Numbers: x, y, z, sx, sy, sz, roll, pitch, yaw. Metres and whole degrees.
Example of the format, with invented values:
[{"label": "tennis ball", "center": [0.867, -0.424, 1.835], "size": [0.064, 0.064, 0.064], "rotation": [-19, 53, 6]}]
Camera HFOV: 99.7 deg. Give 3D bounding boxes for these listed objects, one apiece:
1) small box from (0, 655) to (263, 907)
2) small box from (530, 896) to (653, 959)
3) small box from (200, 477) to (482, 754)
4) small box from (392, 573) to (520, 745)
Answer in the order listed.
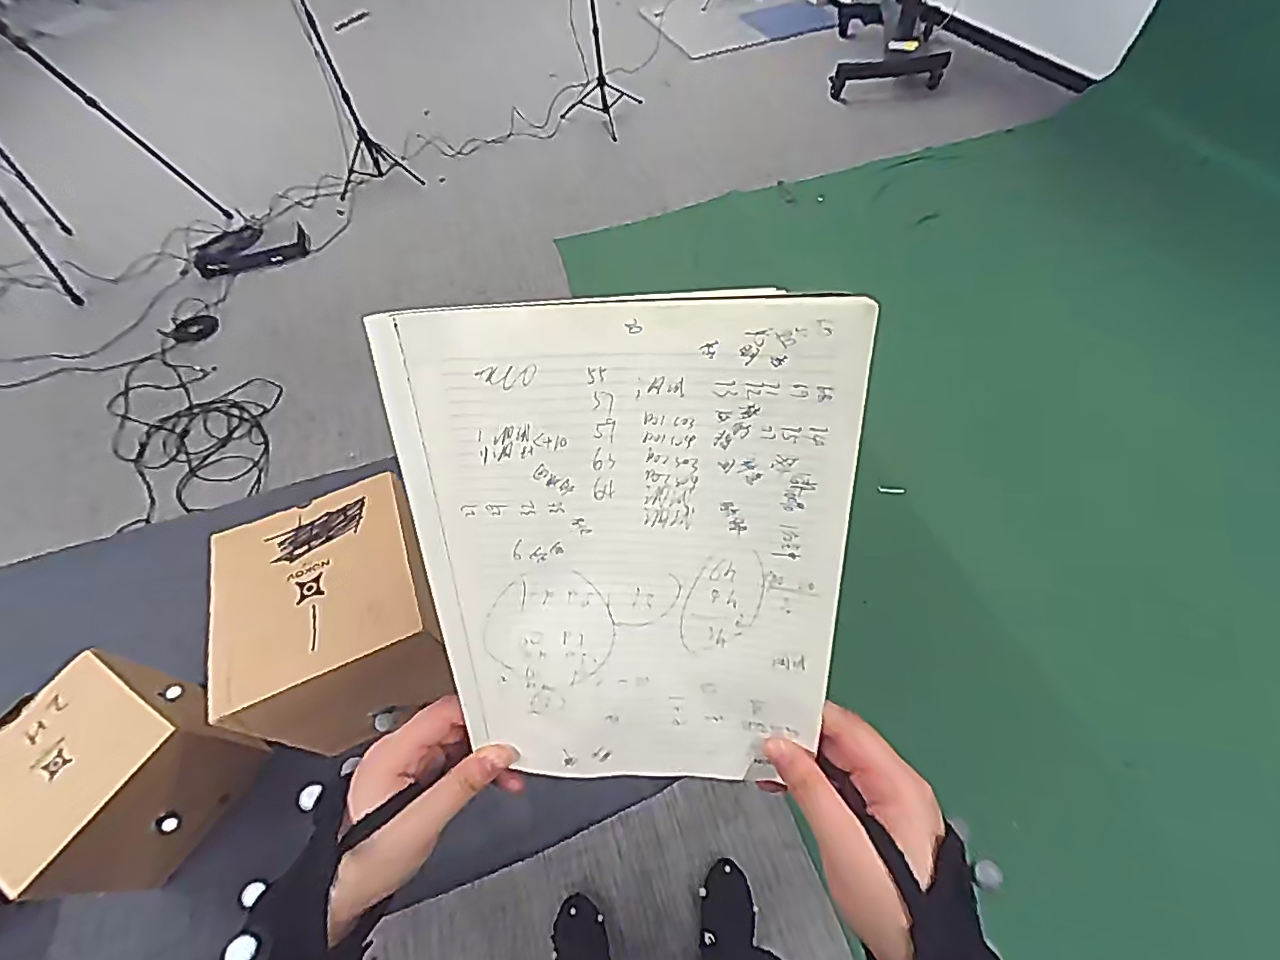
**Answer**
[{"label": "small box", "center": [-0.584, 0.331, 0.609], "size": [0.179, 0.176, 0.168], "rotation": [23, 60, 20]}, {"label": "small box", "center": [-0.096, 0.933, 1.018], "size": [0.176, 0.168, 0.179], "rotation": [43, 39, -2]}, {"label": "small box", "center": [-0.271, 0.133, 0.518], "size": [0.168, 0.176, 0.179], "rotation": [-23, 57, -9]}, {"label": "small box", "center": [-0.265, 0.215, 0.662], "size": [0.179, 0.176, 0.168], "rotation": [5, 56, 10]}]
